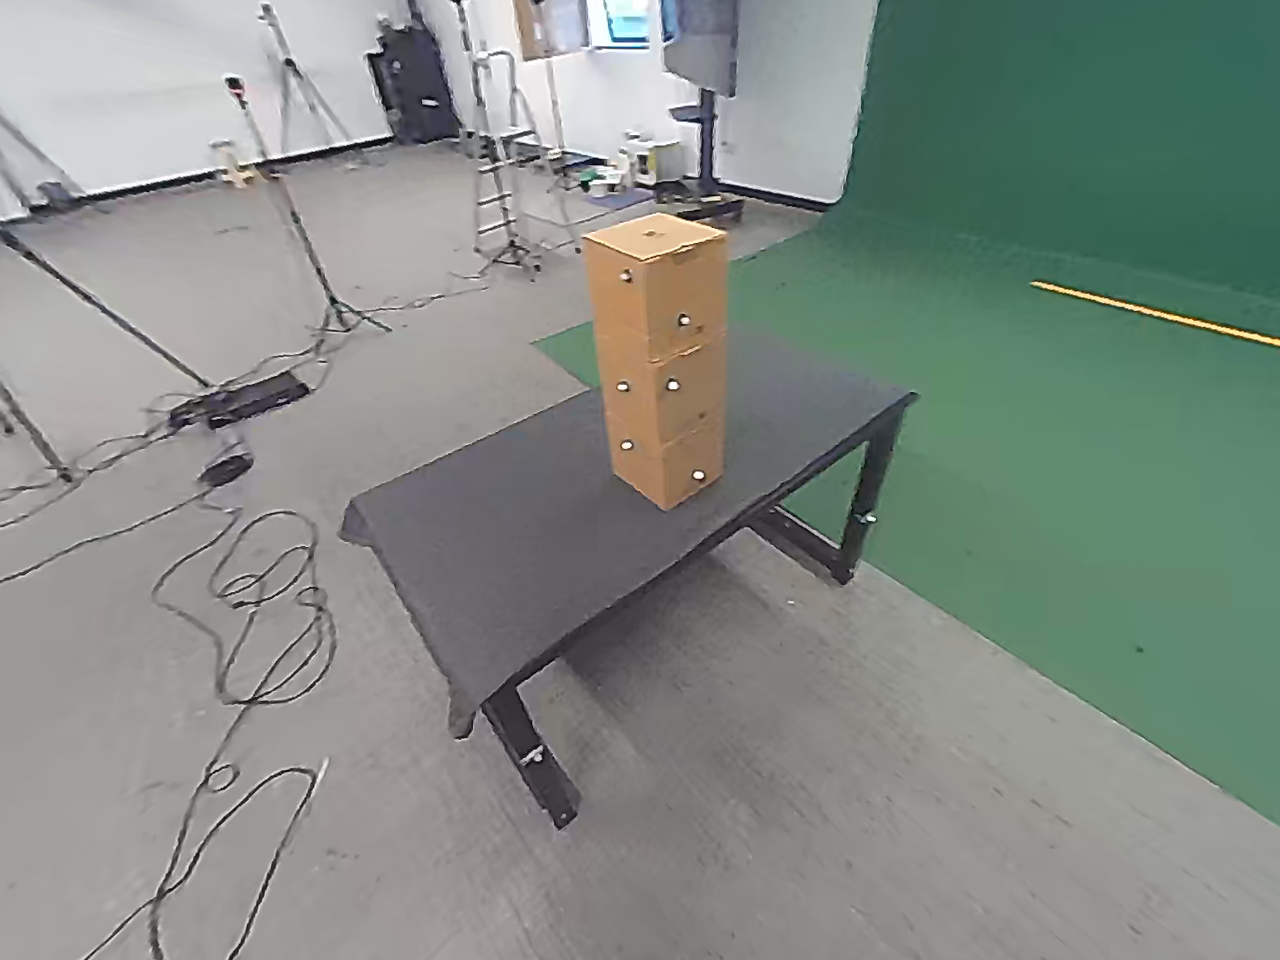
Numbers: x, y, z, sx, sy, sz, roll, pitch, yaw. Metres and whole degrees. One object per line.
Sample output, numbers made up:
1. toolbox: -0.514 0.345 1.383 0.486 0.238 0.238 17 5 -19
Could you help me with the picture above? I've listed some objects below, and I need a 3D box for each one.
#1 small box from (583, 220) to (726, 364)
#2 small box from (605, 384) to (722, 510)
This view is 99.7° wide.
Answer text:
1. small box: 0.024 -0.318 0.912 0.168 0.176 0.179 -29 46 -25
2. small box: 0.050 -0.068 1.120 0.168 0.176 0.179 -32 48 -26
